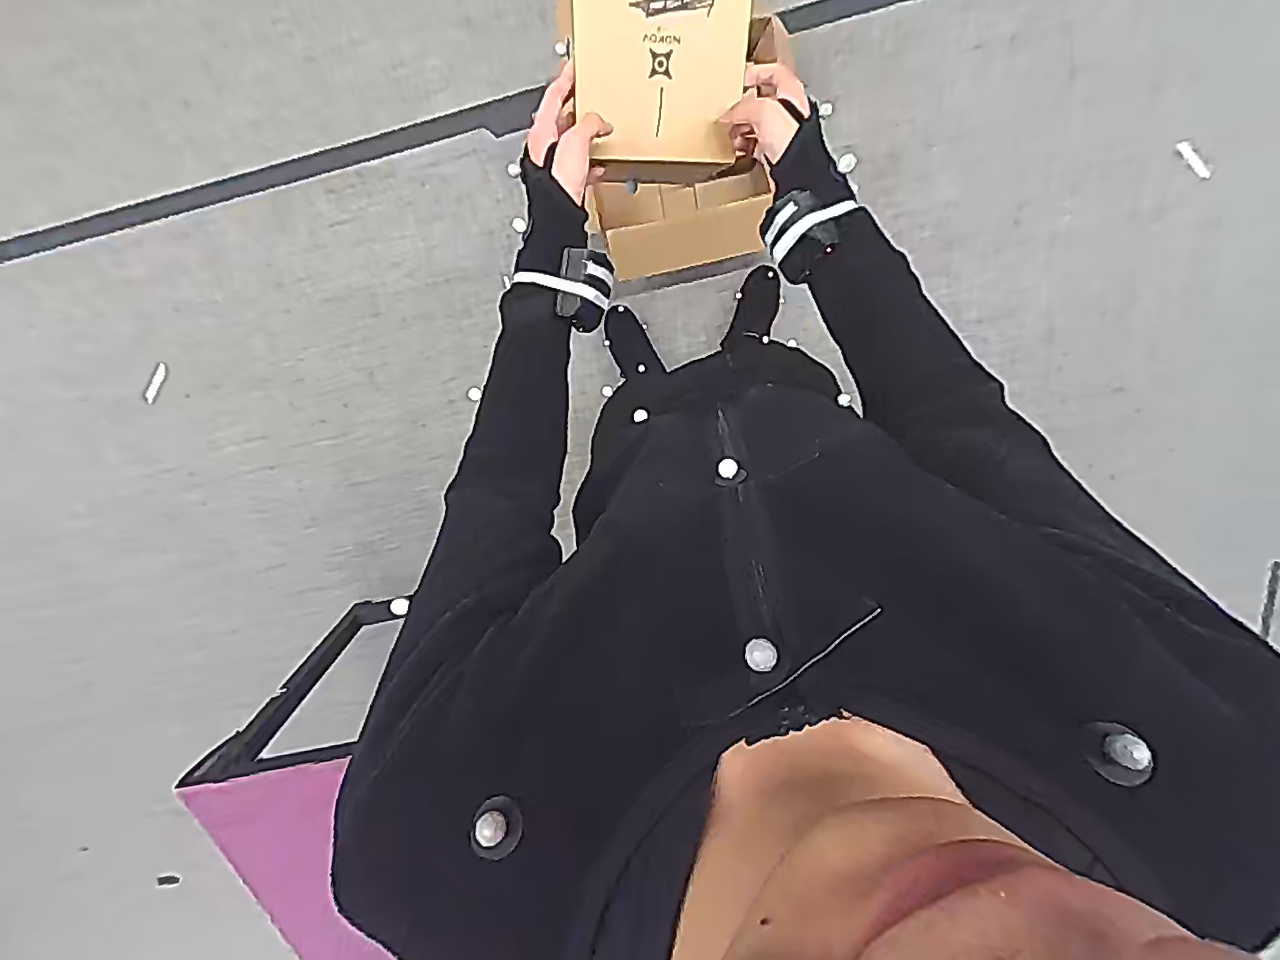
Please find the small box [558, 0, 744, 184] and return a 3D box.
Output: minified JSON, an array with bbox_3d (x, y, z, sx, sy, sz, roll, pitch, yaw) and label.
[{"bbox_3d":[0.002,-0.435,0.587,0.168,0.176,0.179,-4,112,-10],"label":"small box"}]
